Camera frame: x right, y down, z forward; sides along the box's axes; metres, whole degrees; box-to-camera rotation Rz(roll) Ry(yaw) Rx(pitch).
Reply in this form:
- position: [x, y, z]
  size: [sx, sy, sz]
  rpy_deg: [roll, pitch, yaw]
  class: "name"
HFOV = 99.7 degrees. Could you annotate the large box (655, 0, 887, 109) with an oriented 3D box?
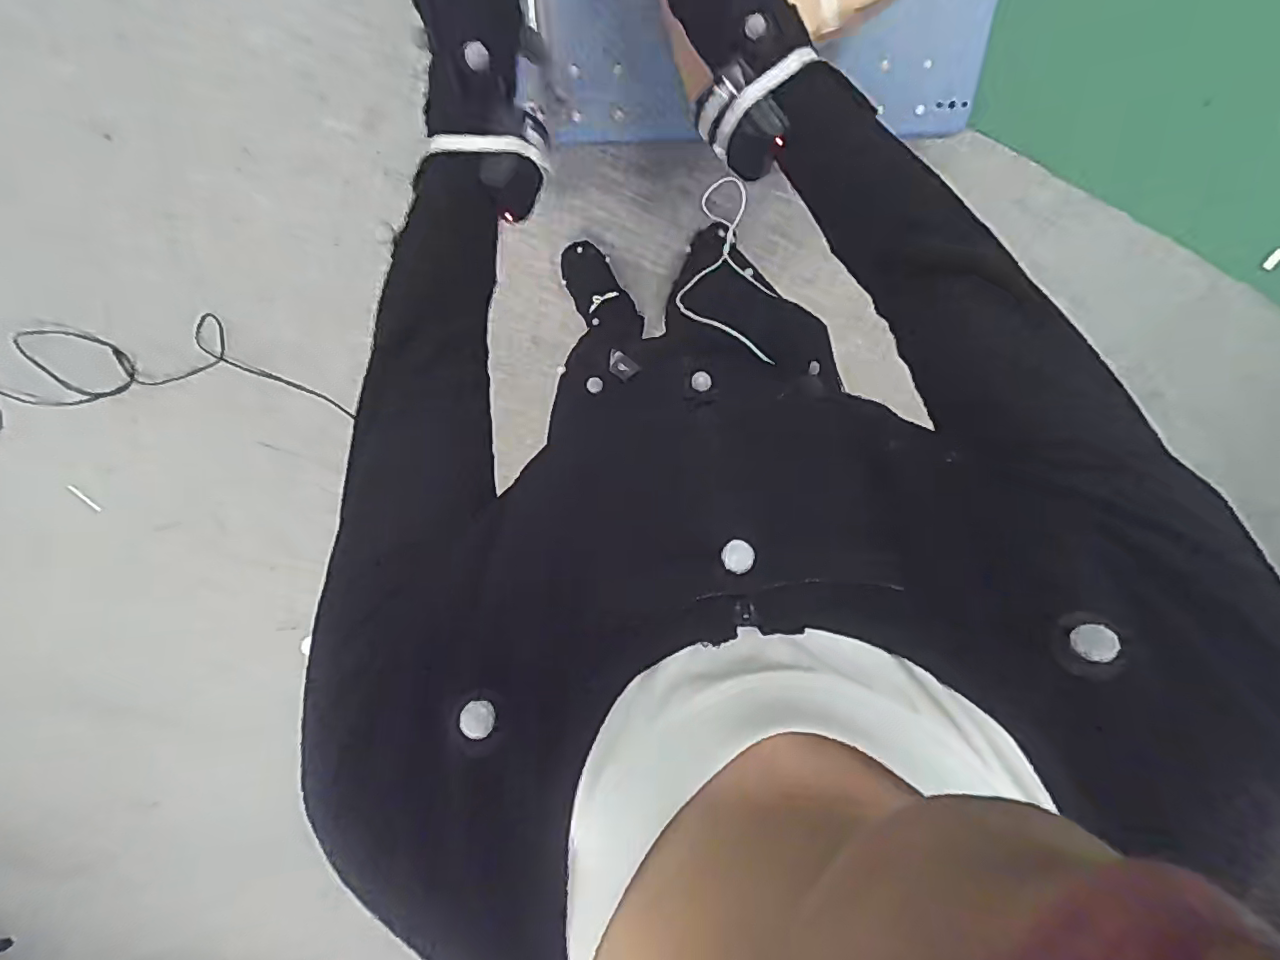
- position: [0.160, -0.845, 0.783]
  size: [0.320, 0.320, 0.408]
  rpy_deg: [-20, 115, 8]
  class: "large box"
